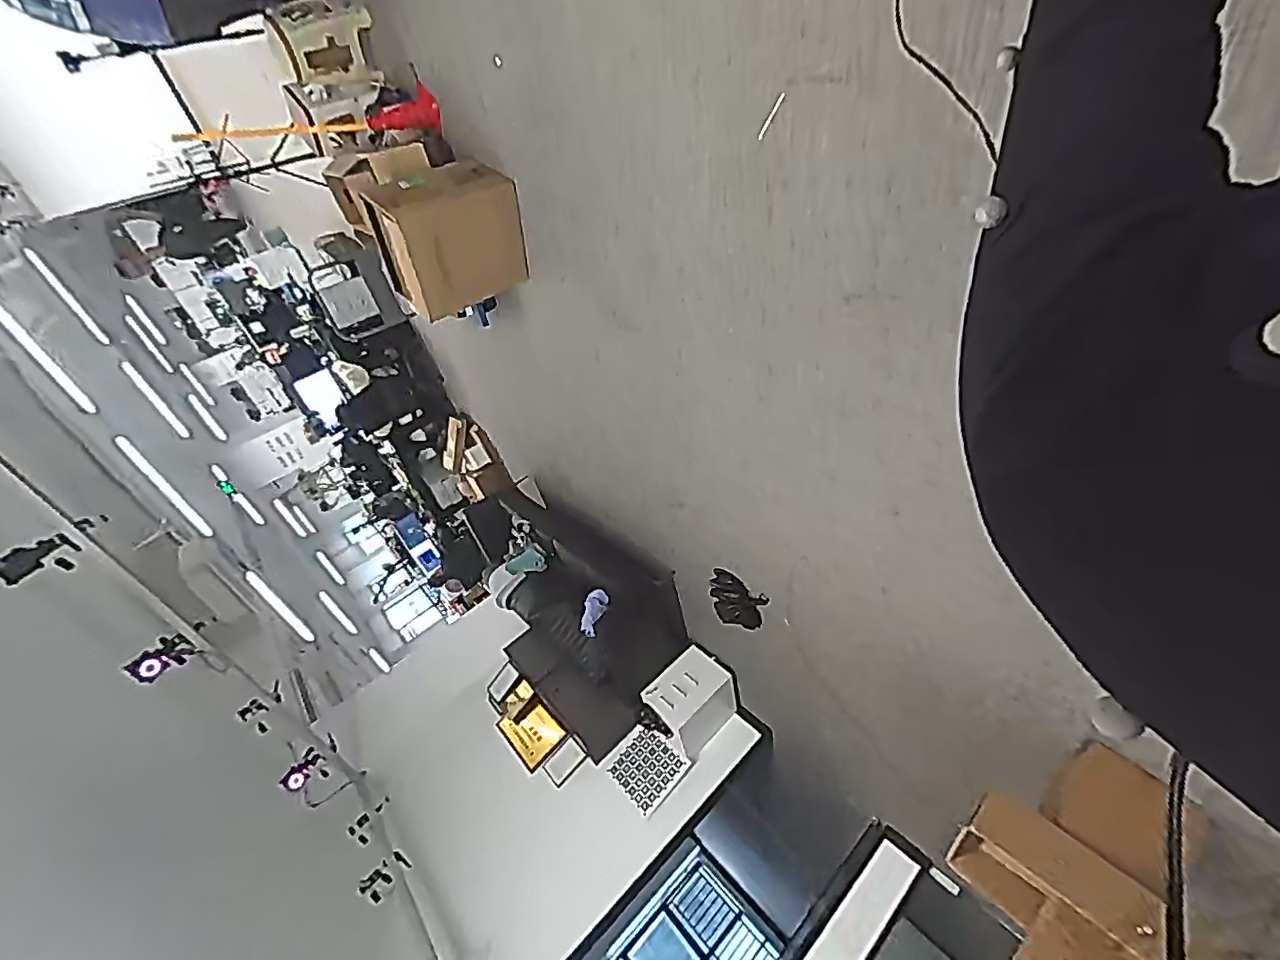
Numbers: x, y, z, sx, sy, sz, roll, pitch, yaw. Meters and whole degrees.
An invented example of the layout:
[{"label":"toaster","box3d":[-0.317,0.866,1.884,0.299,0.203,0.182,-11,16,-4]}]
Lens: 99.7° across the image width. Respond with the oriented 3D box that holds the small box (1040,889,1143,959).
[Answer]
[{"label":"small box","box3d":[1.356,1.377,1.622,0.168,0.176,0.179,35,151,41]}]
